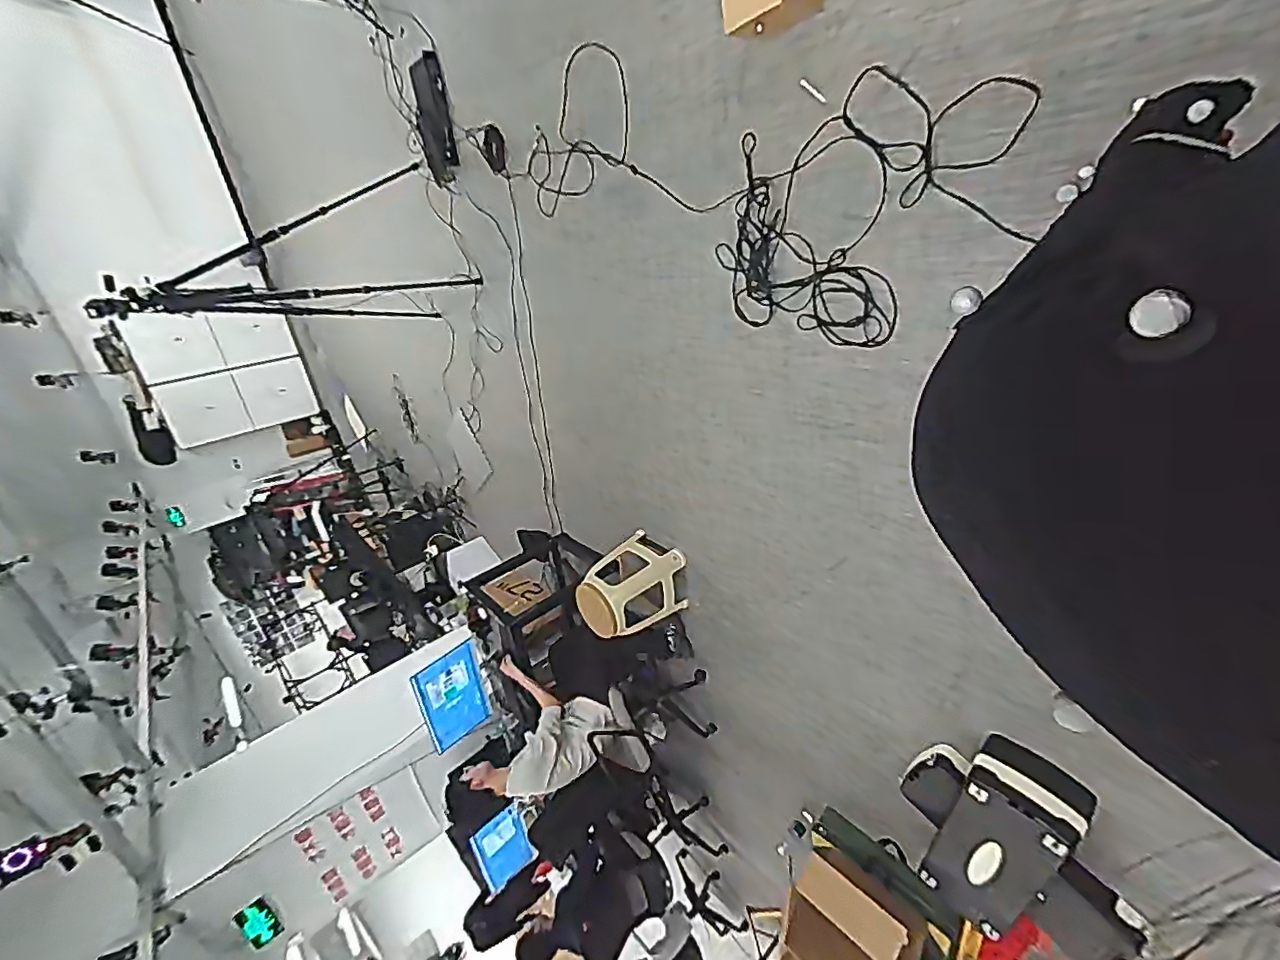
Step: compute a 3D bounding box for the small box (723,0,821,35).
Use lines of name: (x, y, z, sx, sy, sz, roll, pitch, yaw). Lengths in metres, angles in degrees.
small box: (0.317, -1.215, 1.310, 0.179, 0.176, 0.168, 14, 123, 48)
